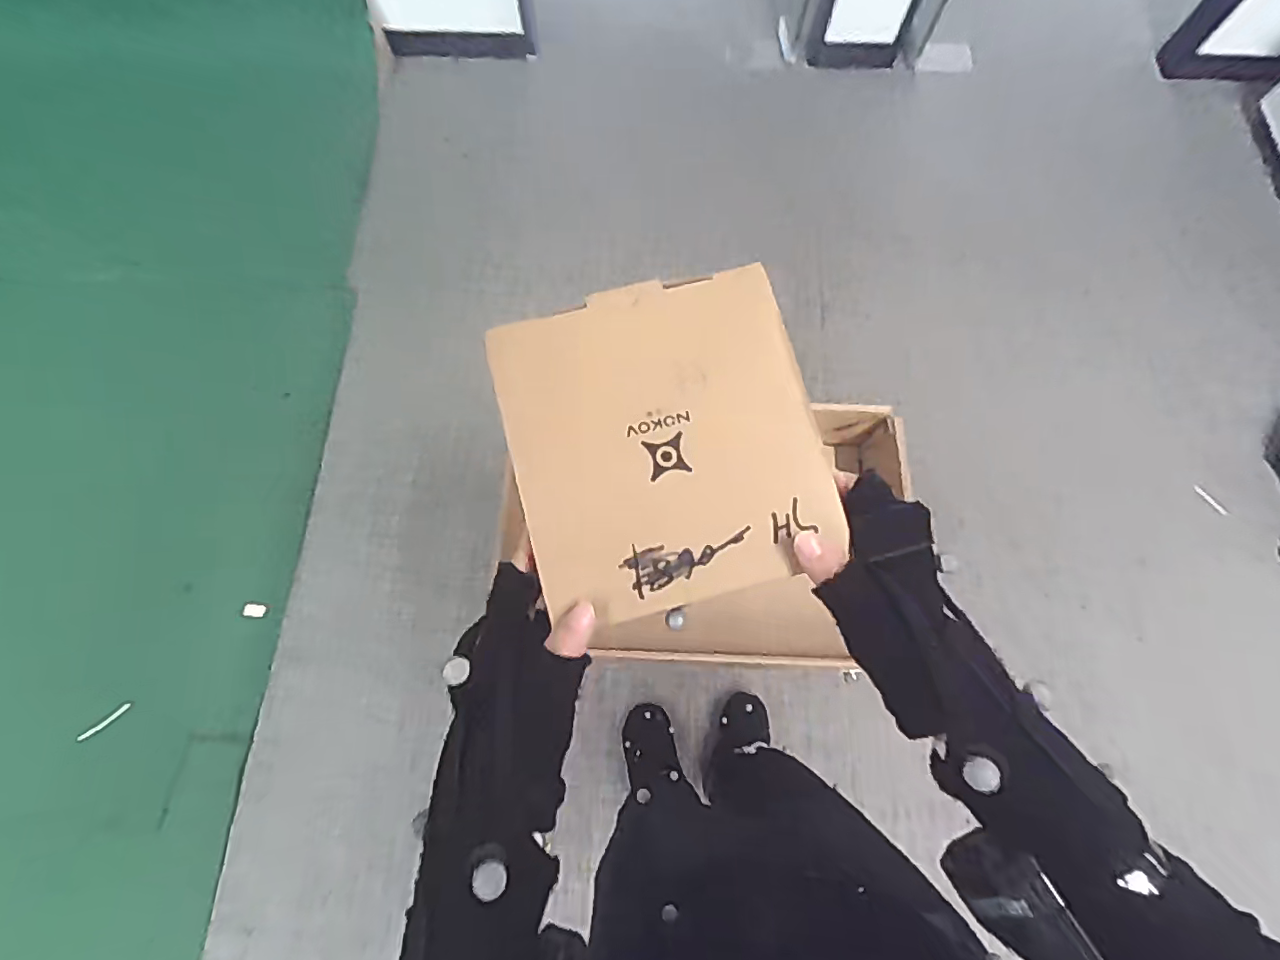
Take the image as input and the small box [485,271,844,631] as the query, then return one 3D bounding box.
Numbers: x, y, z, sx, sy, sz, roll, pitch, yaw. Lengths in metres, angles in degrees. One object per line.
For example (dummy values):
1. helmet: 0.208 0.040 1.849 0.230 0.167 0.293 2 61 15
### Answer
1. small box: 0.009 -0.007 0.377 0.168 0.176 0.179 -15 81 -2
